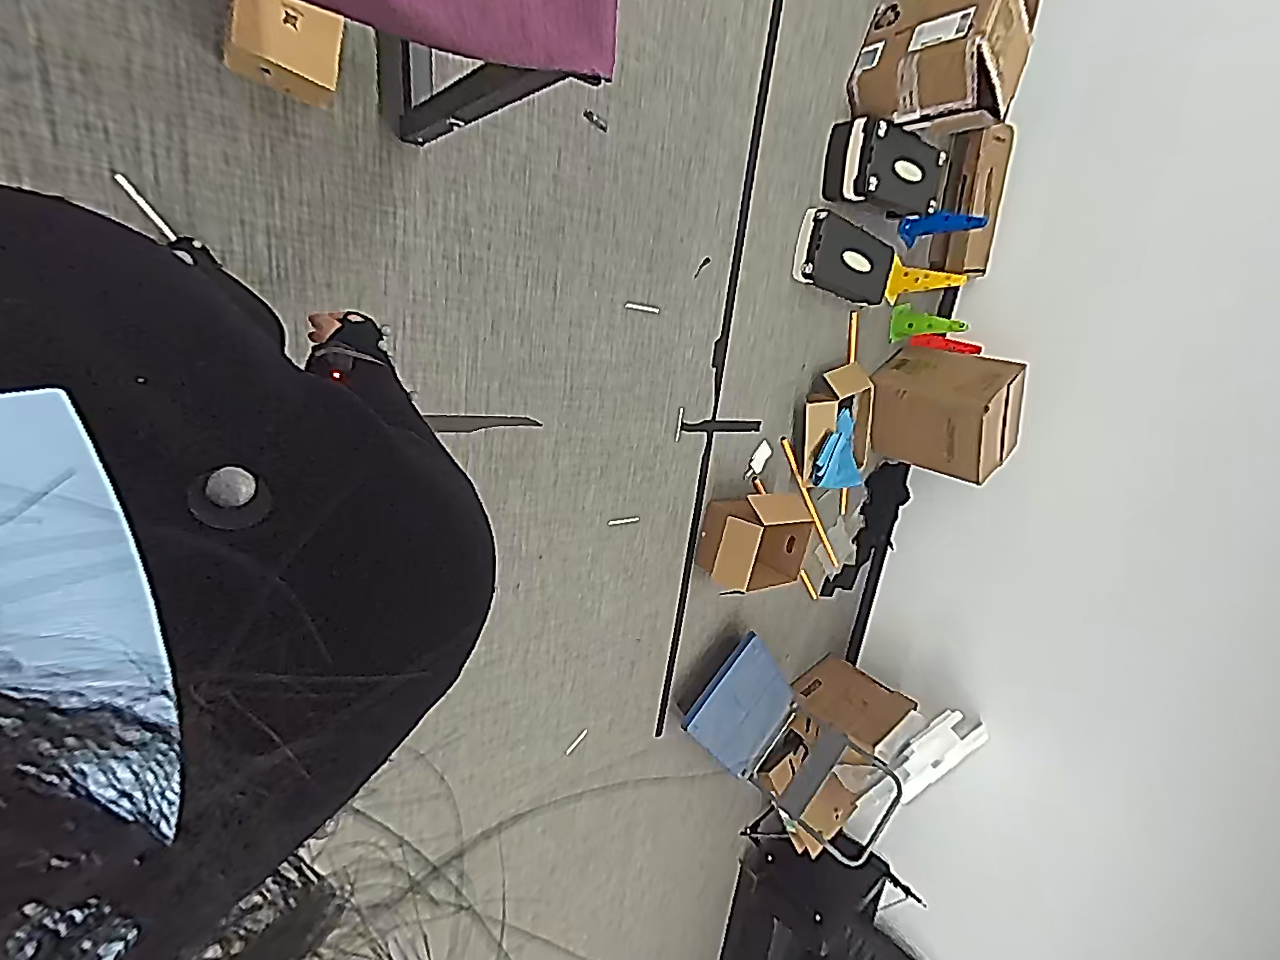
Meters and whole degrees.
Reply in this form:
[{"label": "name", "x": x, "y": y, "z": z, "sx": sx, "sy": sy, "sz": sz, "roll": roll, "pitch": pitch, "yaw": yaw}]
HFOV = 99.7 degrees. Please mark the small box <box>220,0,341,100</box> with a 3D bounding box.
[{"label": "small box", "x": -0.690, "y": -0.870, "z": 1.033, "sx": 0.168, "sy": 0.176, "sz": 0.179, "roll": 4, "pitch": 103, "yaw": -43}]
